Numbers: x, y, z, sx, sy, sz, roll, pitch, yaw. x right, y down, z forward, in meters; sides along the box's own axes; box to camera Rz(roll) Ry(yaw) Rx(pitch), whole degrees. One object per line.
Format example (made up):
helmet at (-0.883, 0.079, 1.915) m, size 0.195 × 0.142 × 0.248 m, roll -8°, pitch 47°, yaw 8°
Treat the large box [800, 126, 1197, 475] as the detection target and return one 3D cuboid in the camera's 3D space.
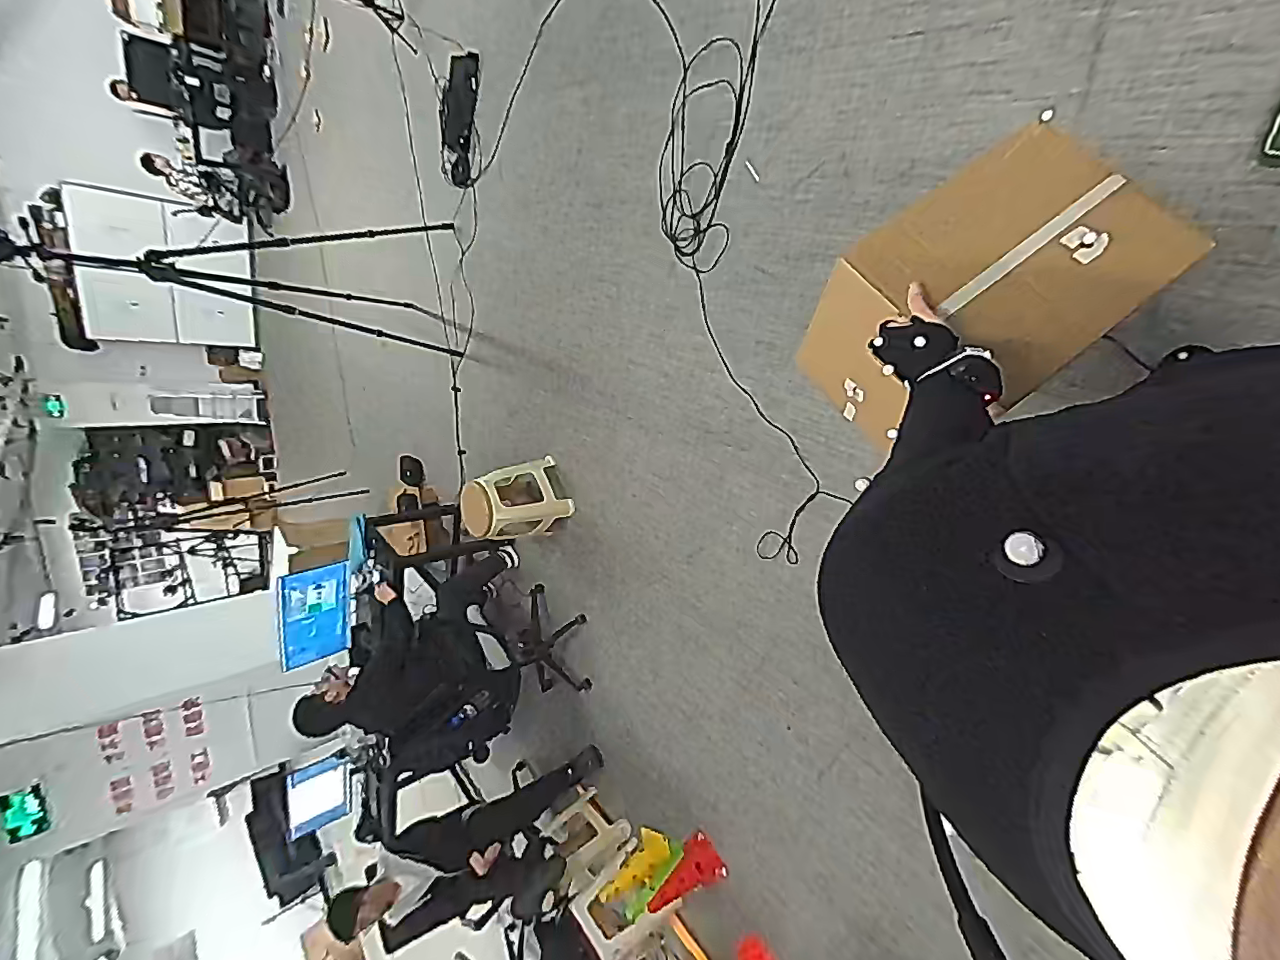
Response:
large box at (0.547, -0.277, 0.913) m, size 0.320 × 0.408 × 0.320 m, roll 52°, pitch 171°, yaw 15°
